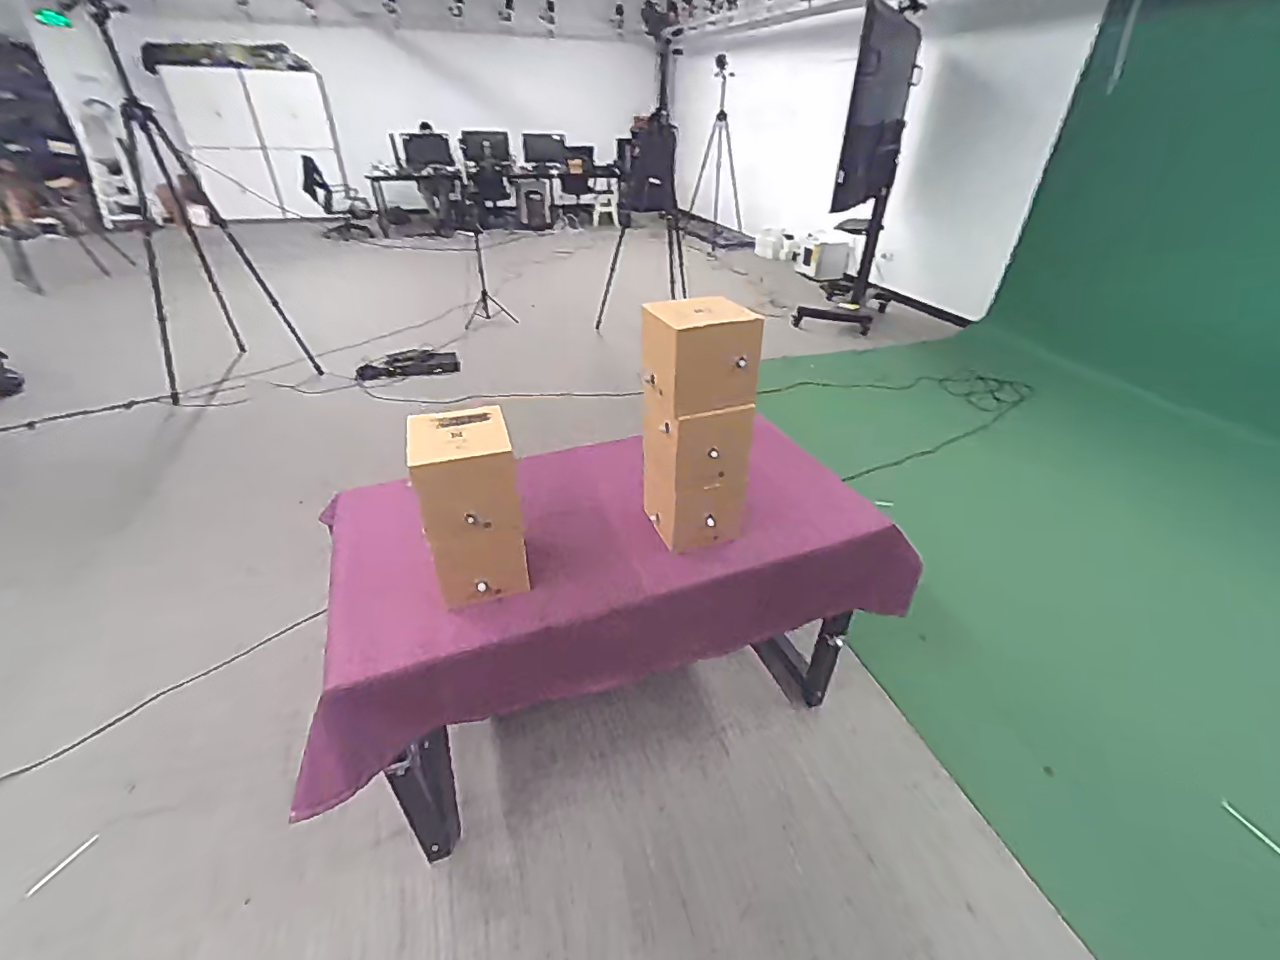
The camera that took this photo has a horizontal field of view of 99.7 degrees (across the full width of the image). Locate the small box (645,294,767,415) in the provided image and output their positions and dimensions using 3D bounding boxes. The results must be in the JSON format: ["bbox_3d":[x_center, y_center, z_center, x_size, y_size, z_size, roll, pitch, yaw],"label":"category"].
[{"bbox_3d":[0.115,-0.240,1.027,0.179,0.176,0.168,-12,36,-17],"label":"small box"}]

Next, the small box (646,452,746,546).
[{"bbox_3d":[0.118,0.032,1.212,0.168,0.176,0.179,-11,37,-18],"label":"small box"}]

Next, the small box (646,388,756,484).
[{"bbox_3d":[0.117,-0.104,1.117,0.168,0.176,0.179,-11,36,-18],"label":"small box"}]

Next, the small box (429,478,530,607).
[{"bbox_3d":[-0.317,0.120,1.070,0.168,0.176,0.179,-10,37,-16],"label":"small box"}]
